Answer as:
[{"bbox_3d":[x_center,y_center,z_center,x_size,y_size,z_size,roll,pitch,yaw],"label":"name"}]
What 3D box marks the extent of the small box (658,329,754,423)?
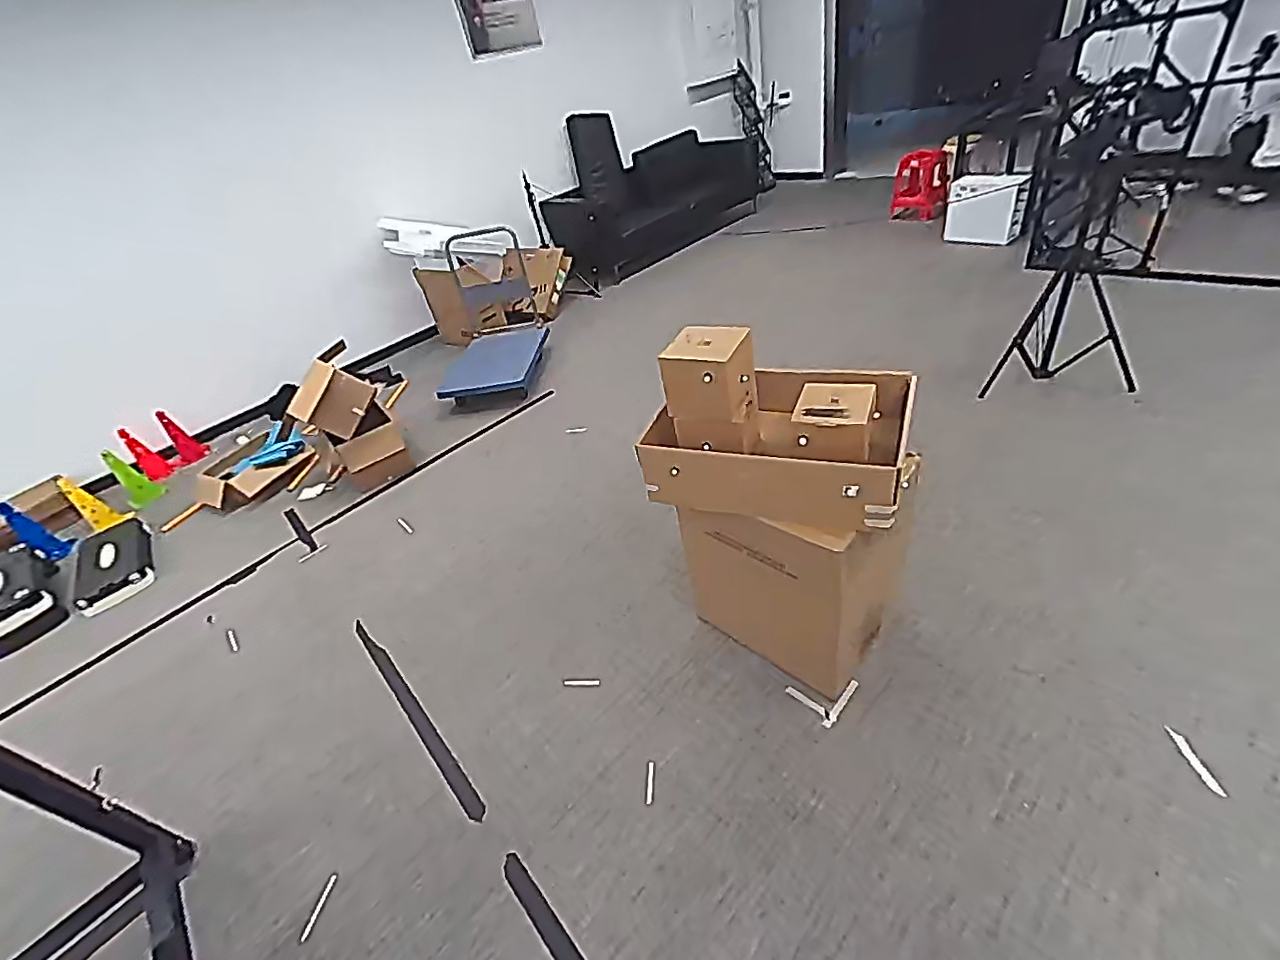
[{"bbox_3d":[0.170,-0.256,1.331,0.179,0.176,0.168,10,44,30],"label":"small box"}]
